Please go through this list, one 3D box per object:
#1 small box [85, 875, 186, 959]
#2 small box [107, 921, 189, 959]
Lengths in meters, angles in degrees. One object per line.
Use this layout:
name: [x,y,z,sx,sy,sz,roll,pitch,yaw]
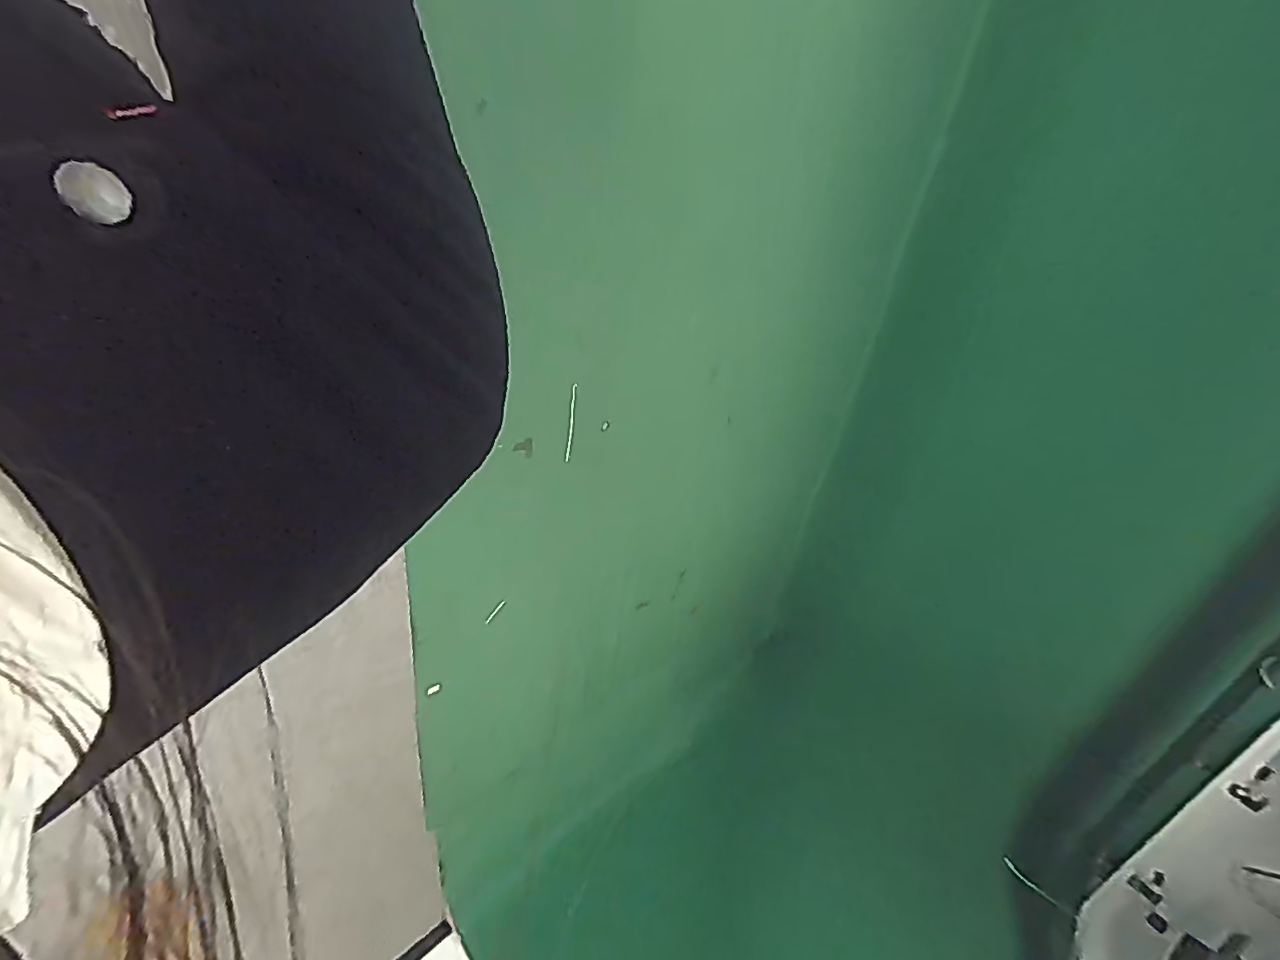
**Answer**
small box: [-1.468,1.318,1.573,0.179,0.176,0.168,-23,132,-43]
small box: [-1.352,1.377,1.476,0.179,0.176,0.168,-19,129,-43]
